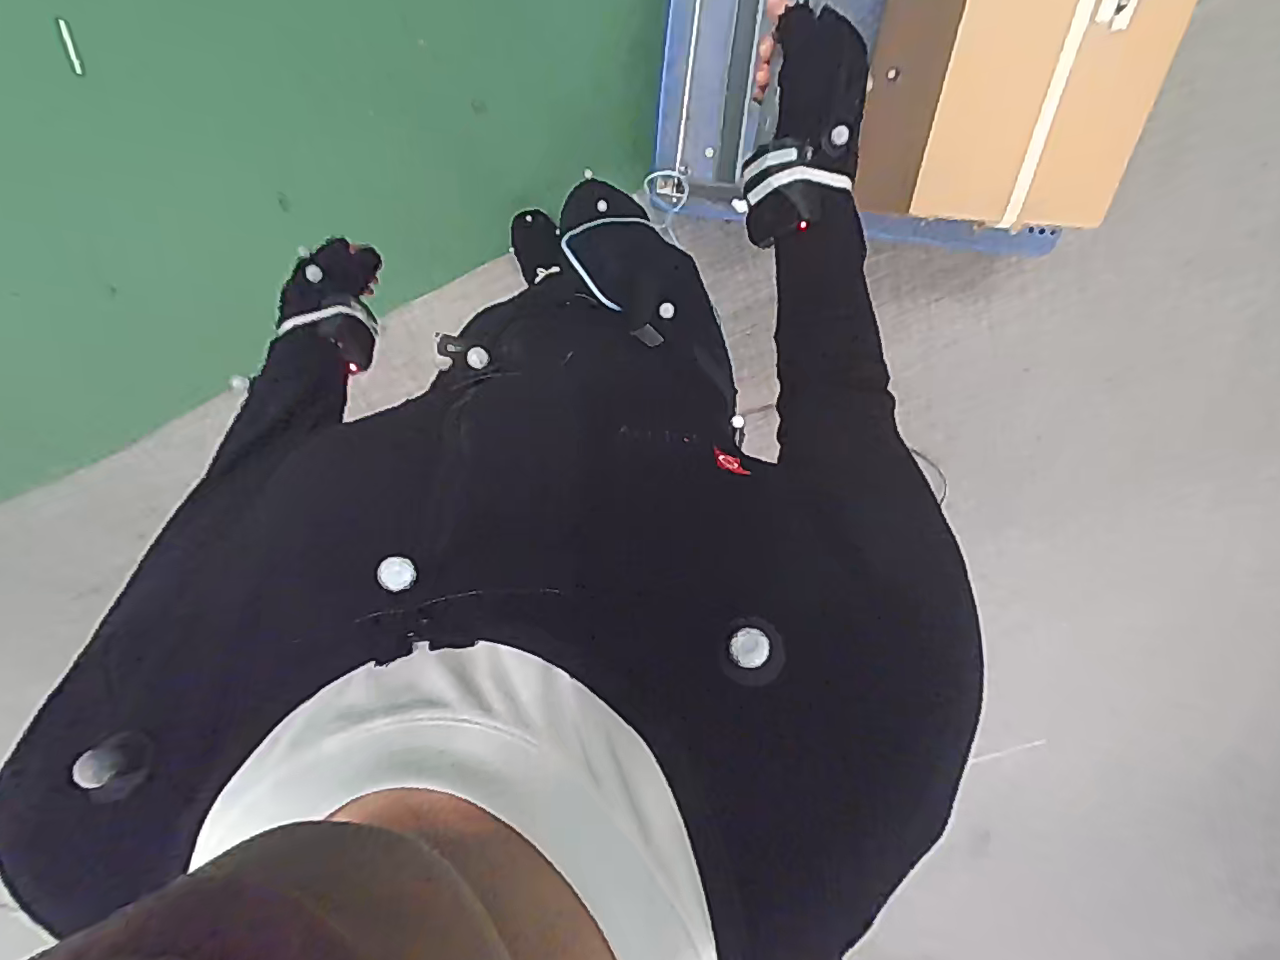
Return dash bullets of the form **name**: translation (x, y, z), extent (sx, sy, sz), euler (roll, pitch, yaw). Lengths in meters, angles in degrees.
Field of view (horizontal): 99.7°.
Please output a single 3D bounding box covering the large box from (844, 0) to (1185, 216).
- **large box**: translation (0.575, -0.664, 0.883), extent (0.320, 0.320, 0.408), euler (3, 118, -4)
